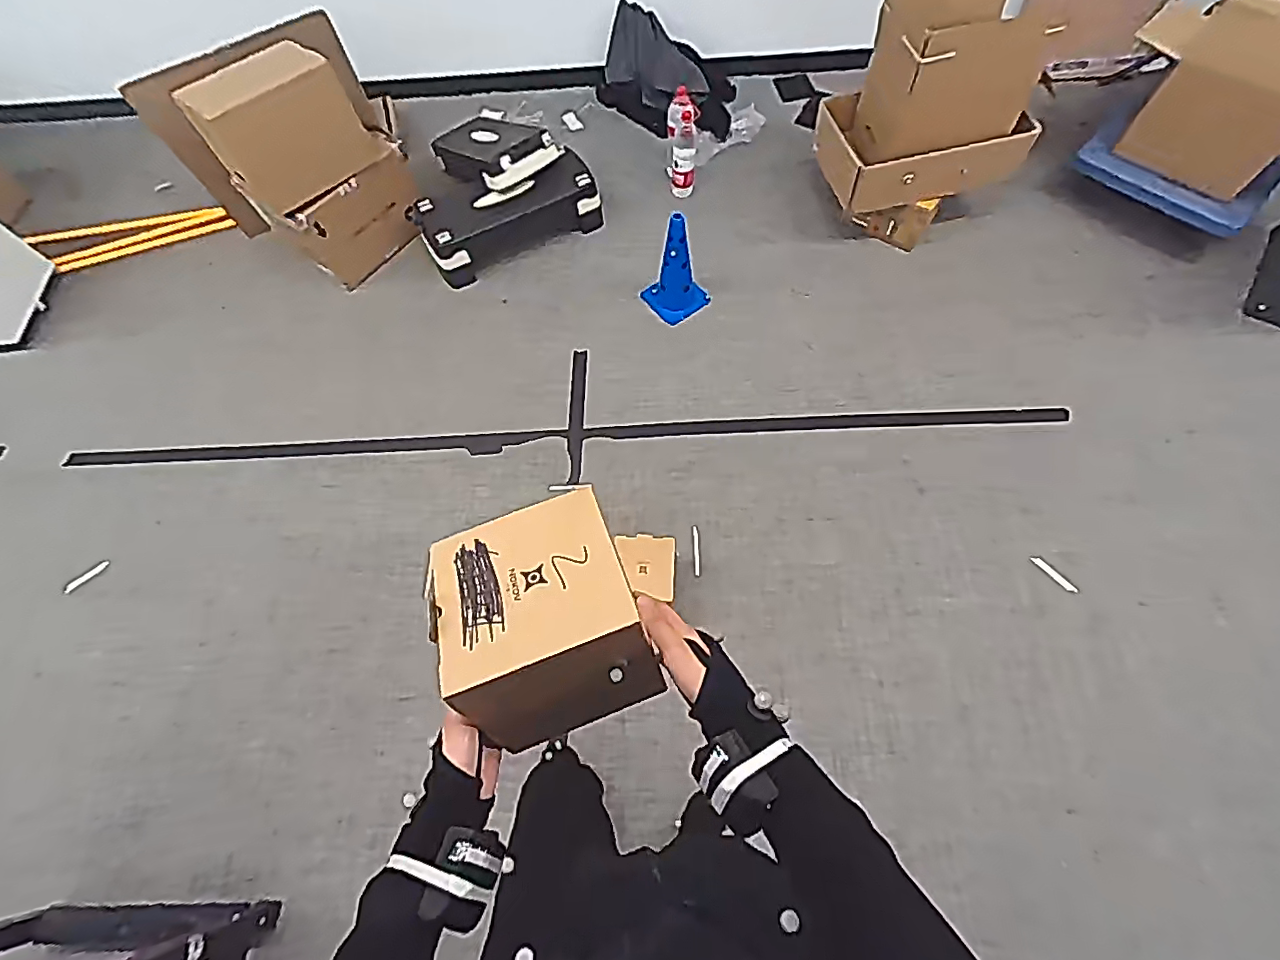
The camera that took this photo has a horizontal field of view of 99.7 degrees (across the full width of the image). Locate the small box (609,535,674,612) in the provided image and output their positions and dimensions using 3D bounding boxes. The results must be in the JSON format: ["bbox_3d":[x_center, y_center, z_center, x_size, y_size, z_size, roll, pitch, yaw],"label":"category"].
[{"bbox_3d":[0.010,0.266,1.509,0.168,0.176,0.179,2,65,4],"label":"small box"}]
